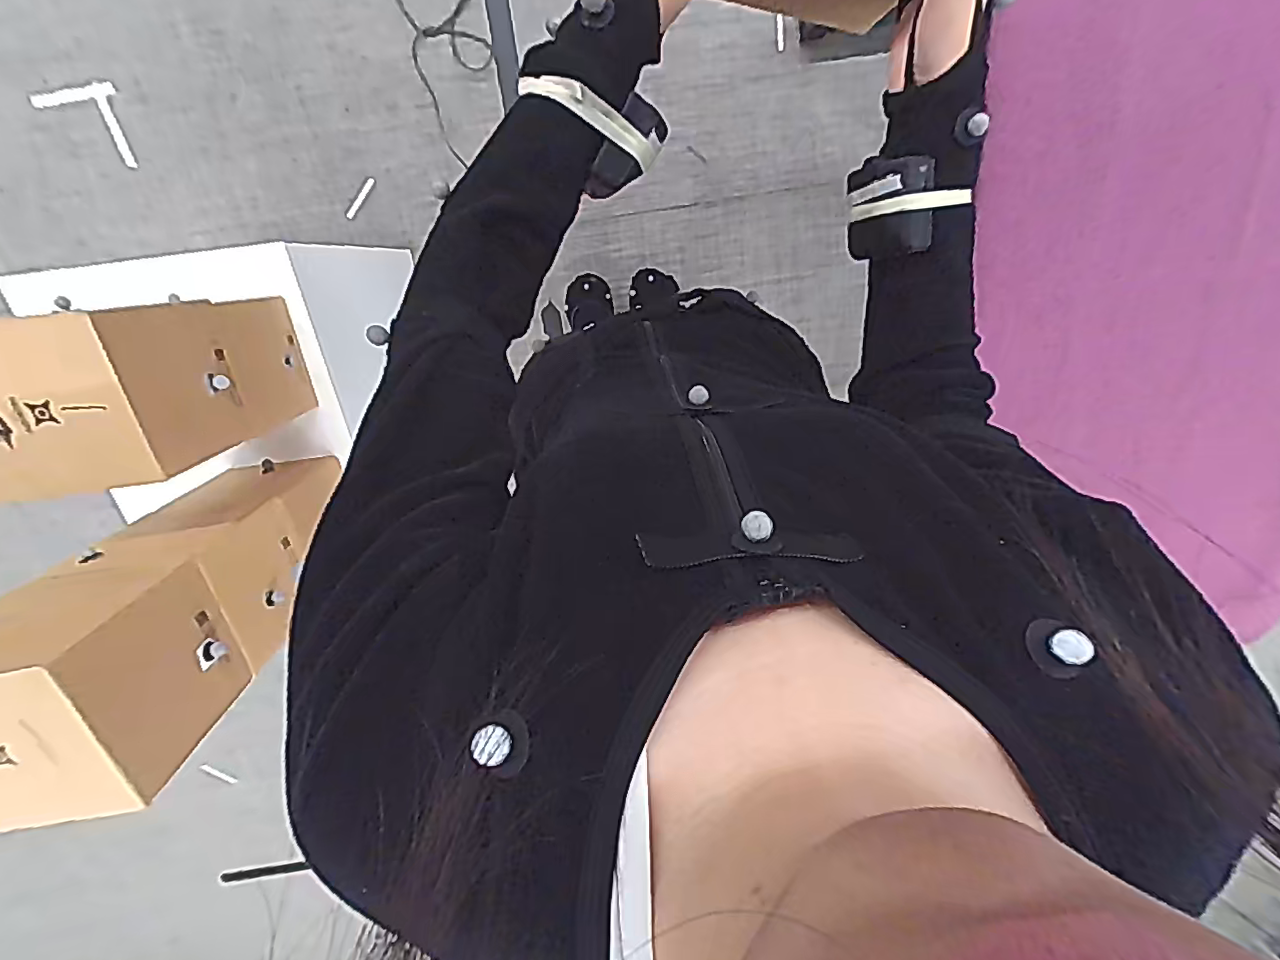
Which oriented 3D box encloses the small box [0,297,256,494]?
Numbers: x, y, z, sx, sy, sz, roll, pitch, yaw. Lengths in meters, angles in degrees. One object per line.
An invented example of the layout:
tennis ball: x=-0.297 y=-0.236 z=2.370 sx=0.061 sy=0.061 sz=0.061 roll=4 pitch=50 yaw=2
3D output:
small box: x=-0.561 y=-0.097 z=0.569 sx=0.179 sy=0.176 sz=0.168 roll=-6 pitch=113 yaw=-3

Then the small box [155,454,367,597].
small box: x=-0.553 y=0.070 z=0.818 sx=0.179 sy=0.176 sz=0.168 roll=-7 pitch=112 yaw=0

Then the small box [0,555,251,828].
small box: x=-0.531 y=0.191 z=0.516 sx=0.179 sy=0.176 sz=0.168 roll=-9 pitch=113 yaw=-1

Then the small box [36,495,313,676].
small box: x=-0.540 y=0.131 z=0.667 sx=0.179 sy=0.176 sz=0.168 roll=-9 pitch=113 yaw=0

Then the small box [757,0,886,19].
small box: x=0.125 y=-0.432 z=0.340 sx=0.179 sy=0.176 sz=0.168 roll=9 pitch=113 yaw=-6
